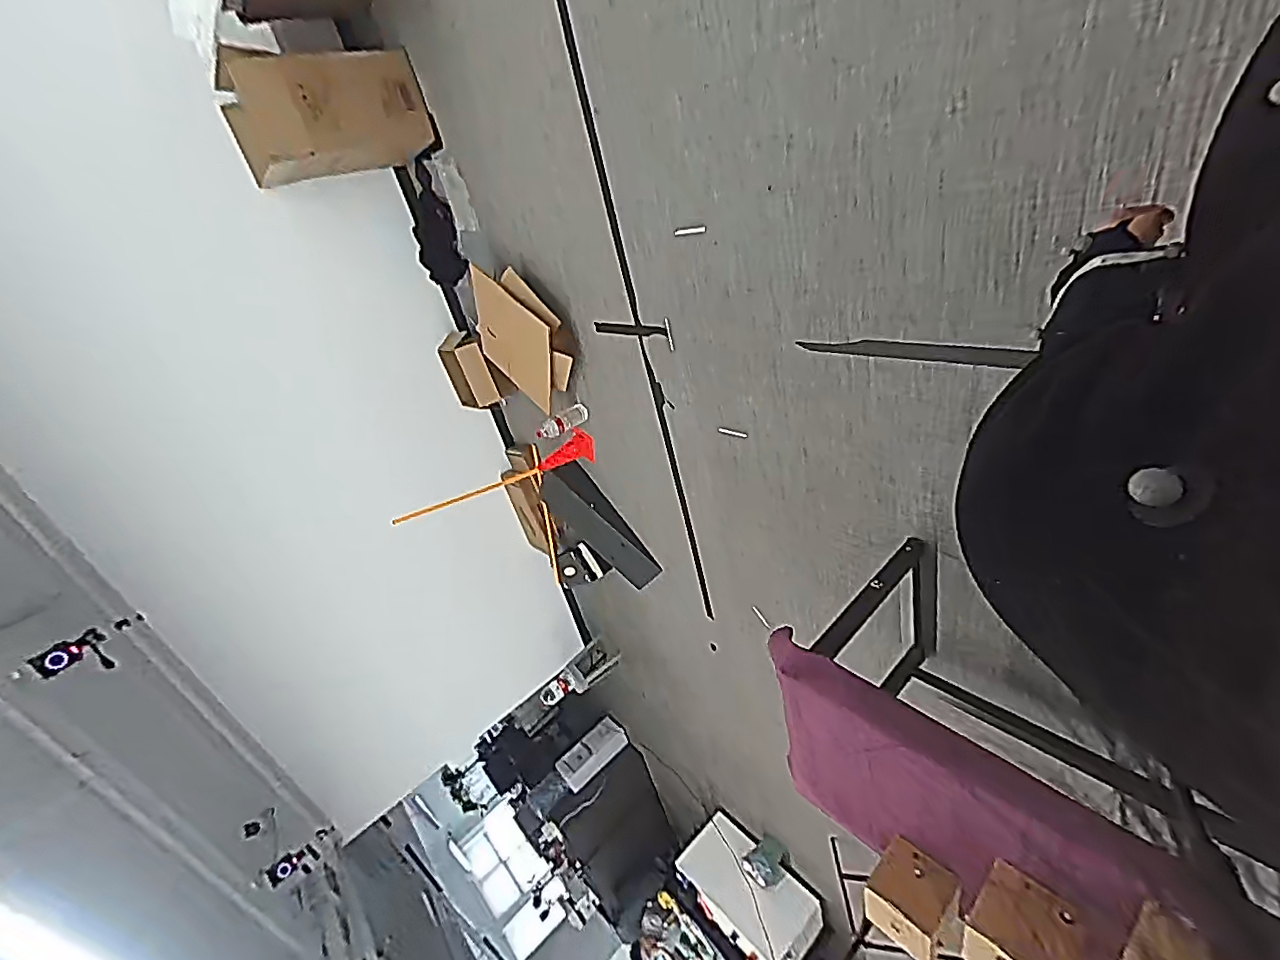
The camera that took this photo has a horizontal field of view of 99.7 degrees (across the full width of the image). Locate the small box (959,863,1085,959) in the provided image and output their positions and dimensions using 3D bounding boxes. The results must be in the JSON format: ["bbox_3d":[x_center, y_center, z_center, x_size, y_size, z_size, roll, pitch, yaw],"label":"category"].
[{"bbox_3d":[0.794,0.958,1.128,0.168,0.176,0.179,21,136,47],"label":"small box"}]

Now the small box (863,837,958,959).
[{"bbox_3d":[0.695,1.079,1.391,0.168,0.176,0.179,20,133,47],"label":"small box"}]
